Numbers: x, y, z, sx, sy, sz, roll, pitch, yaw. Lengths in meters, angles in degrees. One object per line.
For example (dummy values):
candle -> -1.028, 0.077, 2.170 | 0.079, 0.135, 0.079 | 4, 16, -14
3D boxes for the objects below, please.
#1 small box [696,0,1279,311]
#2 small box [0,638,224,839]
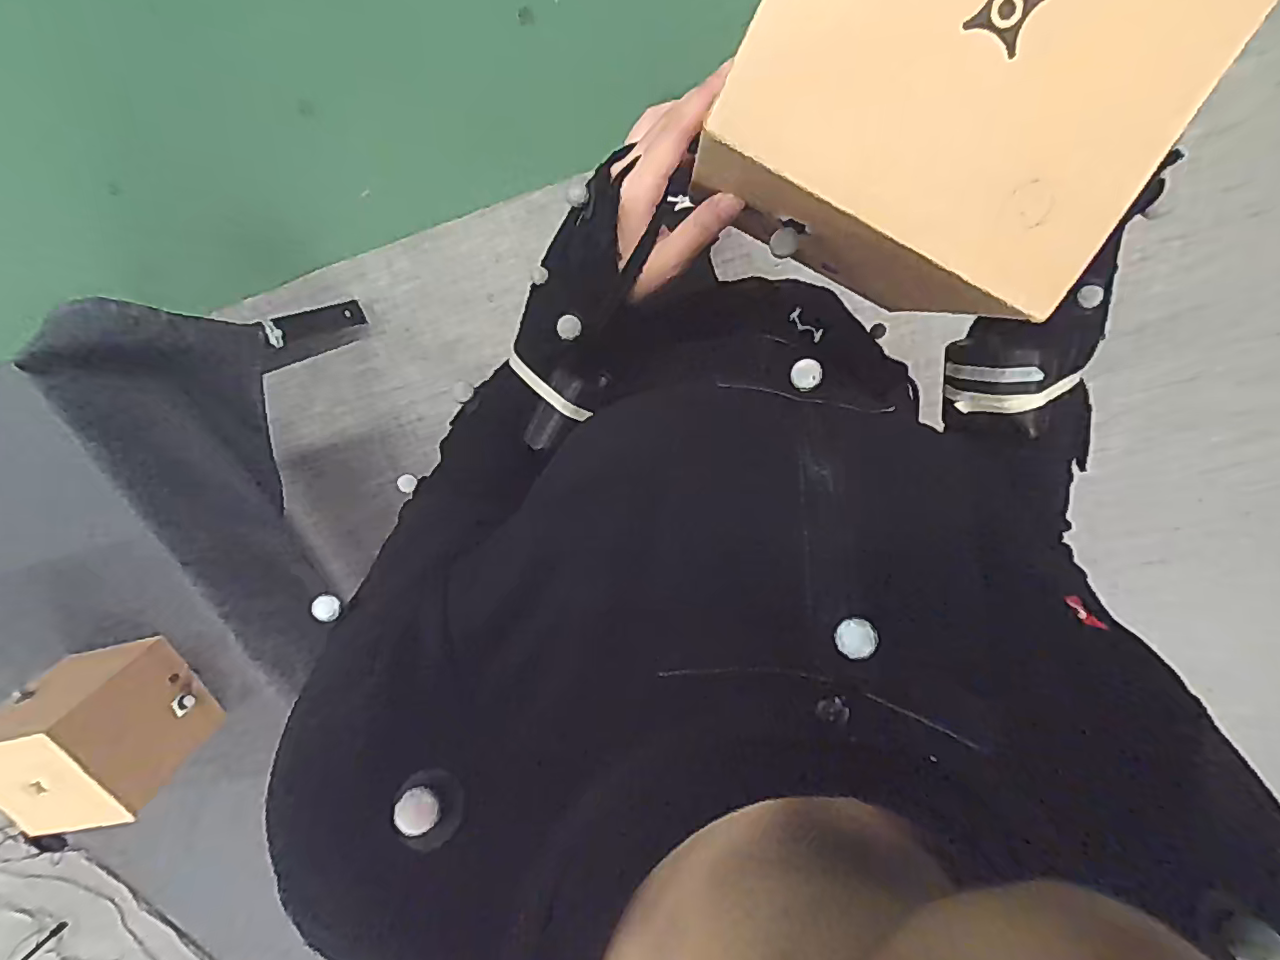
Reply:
small box -> 0.138, -0.200, 0.263 | 0.168, 0.176, 0.179 | 26, 107, -5
small box -> -0.729, 0.341, 0.729 | 0.179, 0.176, 0.168 | -14, 114, 9
